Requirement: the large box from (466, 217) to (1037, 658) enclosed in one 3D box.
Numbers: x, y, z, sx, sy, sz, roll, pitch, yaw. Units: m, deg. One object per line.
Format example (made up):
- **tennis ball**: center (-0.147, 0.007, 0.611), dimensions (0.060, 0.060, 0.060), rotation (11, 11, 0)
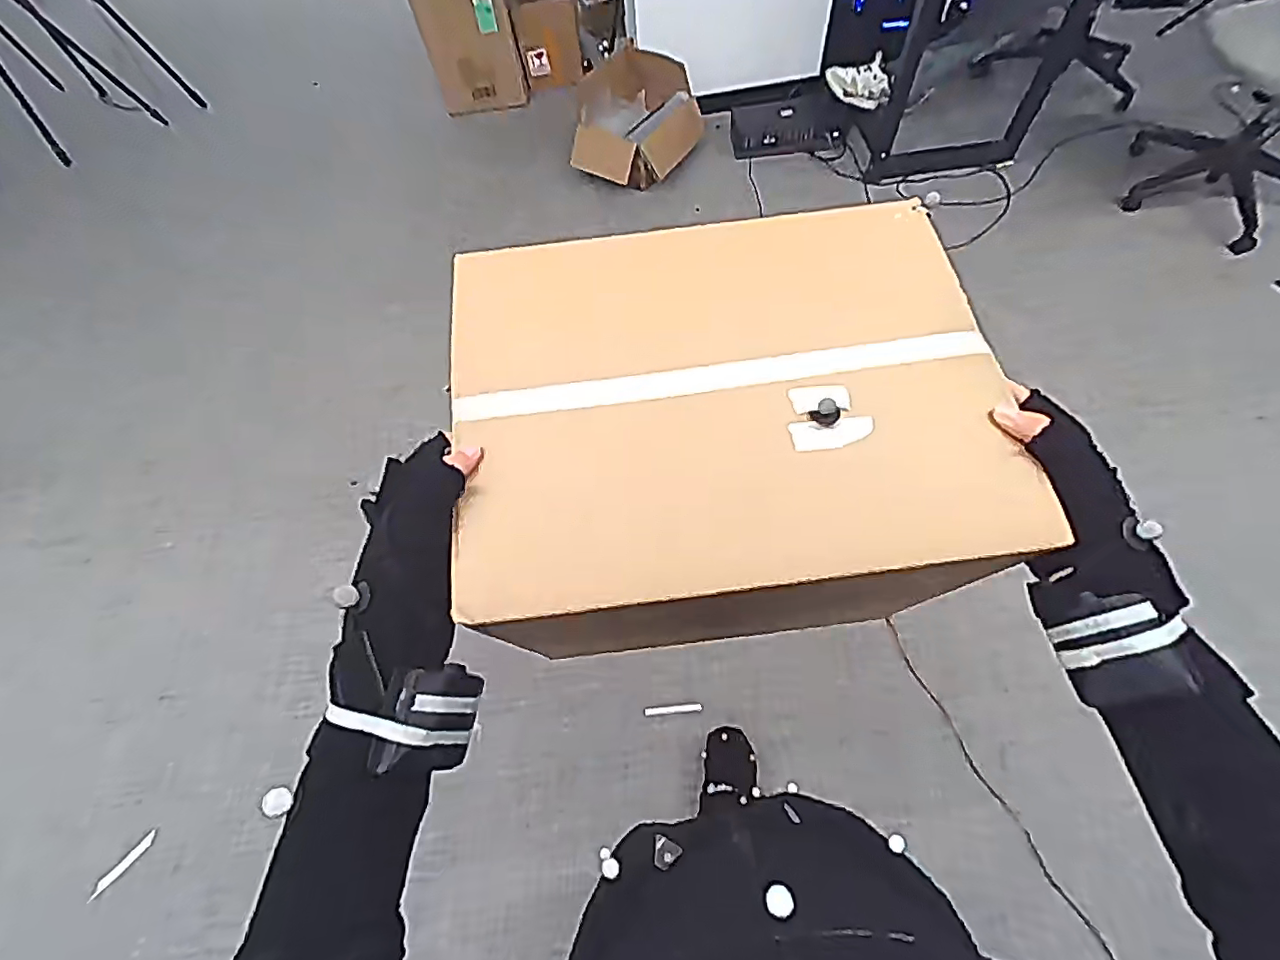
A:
- **large box**: center (0.065, -0.015, 0.564), dimensions (0.408, 0.320, 0.320), rotation (-8, 67, -1)
